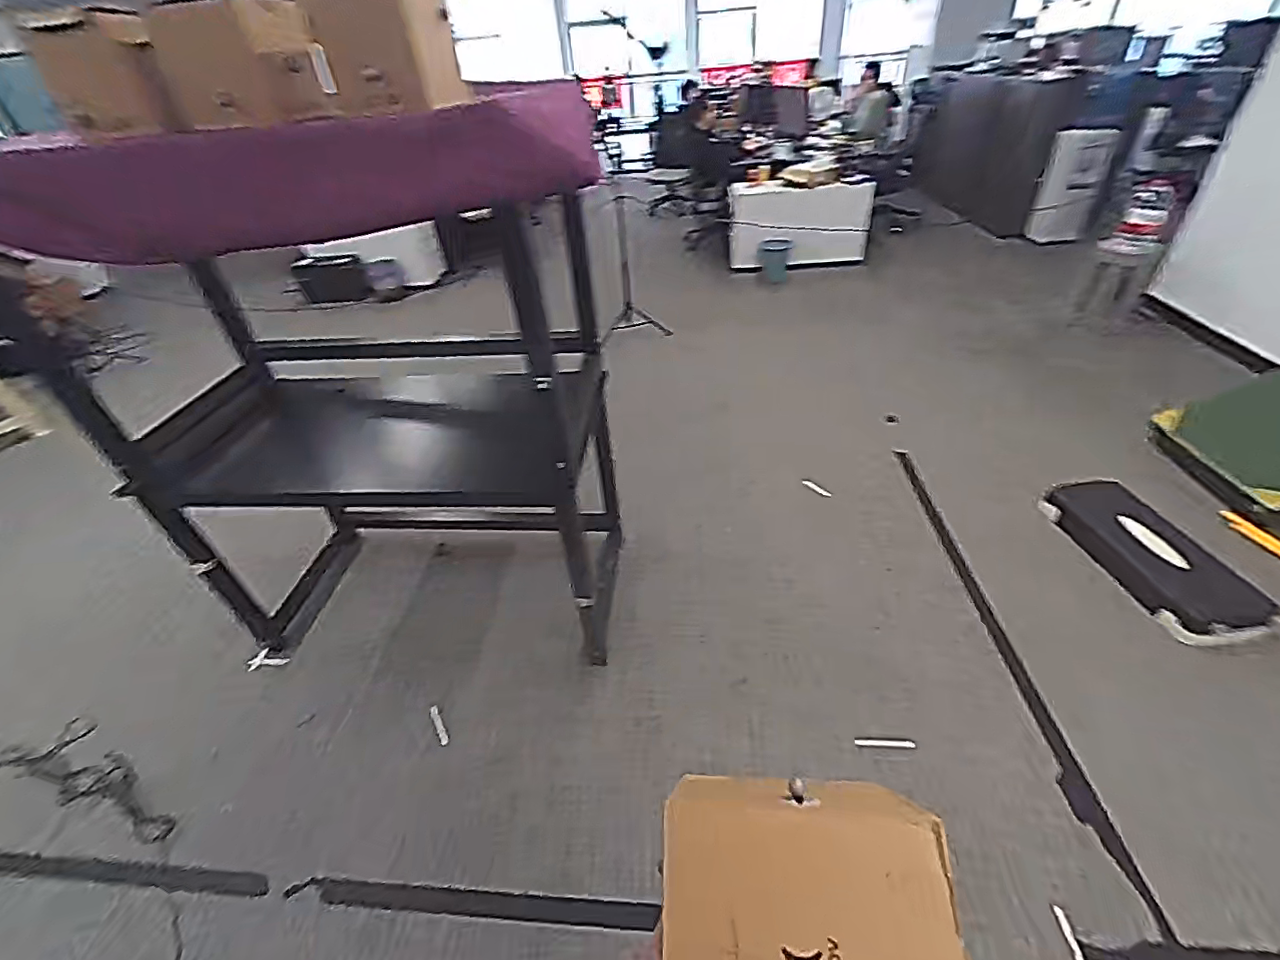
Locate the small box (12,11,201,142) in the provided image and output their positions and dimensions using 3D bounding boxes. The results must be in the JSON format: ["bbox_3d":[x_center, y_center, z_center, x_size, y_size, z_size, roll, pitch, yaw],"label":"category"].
[{"bbox_3d":[-0.906,-0.710,0.963,0.168,0.176,0.179,-3,37,4],"label":"small box"}]

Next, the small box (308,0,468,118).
[{"bbox_3d":[-0.407,-0.716,0.905,0.168,0.176,0.179,1,38,9],"label":"small box"}]

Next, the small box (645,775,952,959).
[{"bbox_3d":[0.099,0.311,0.381,0.179,0.176,0.168,-2,67,8],"label":"small box"}]

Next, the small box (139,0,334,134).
[{"bbox_3d":[-0.675,-0.710,0.933,0.179,0.176,0.168,2,38,9],"label":"small box"}]
